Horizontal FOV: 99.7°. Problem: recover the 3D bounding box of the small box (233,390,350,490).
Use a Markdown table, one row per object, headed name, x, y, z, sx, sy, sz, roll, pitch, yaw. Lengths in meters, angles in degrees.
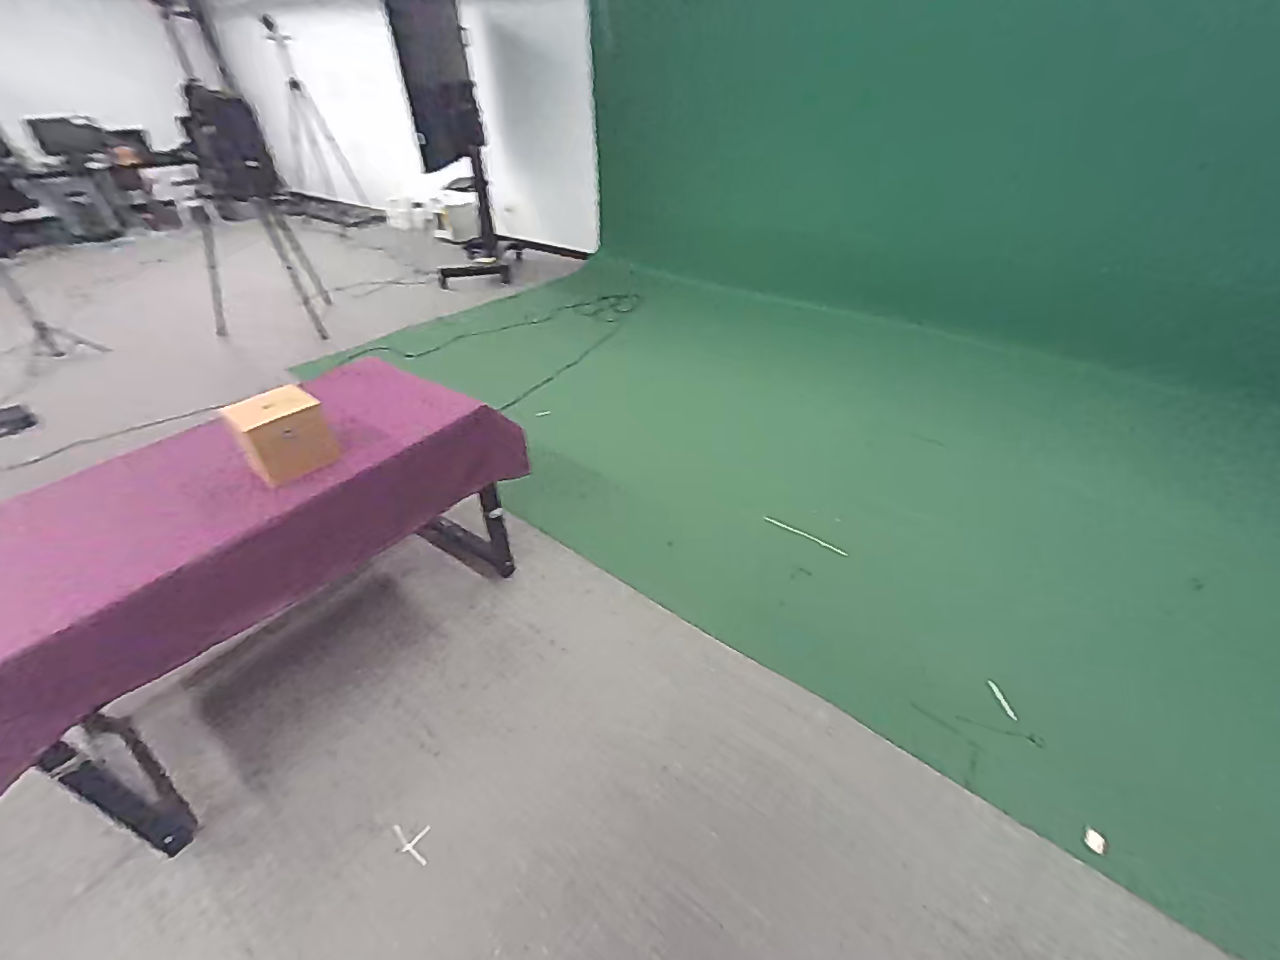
| name | x | y | z | sx | sy | sz | roll | pitch | yaw |
| --- | --- | --- | --- | --- | --- | --- | --- | --- | --- |
| small box | -0.884 | -0.102 | 1.382 | 0.168 | 0.176 | 0.179 | 28 | 46 | 33 |
